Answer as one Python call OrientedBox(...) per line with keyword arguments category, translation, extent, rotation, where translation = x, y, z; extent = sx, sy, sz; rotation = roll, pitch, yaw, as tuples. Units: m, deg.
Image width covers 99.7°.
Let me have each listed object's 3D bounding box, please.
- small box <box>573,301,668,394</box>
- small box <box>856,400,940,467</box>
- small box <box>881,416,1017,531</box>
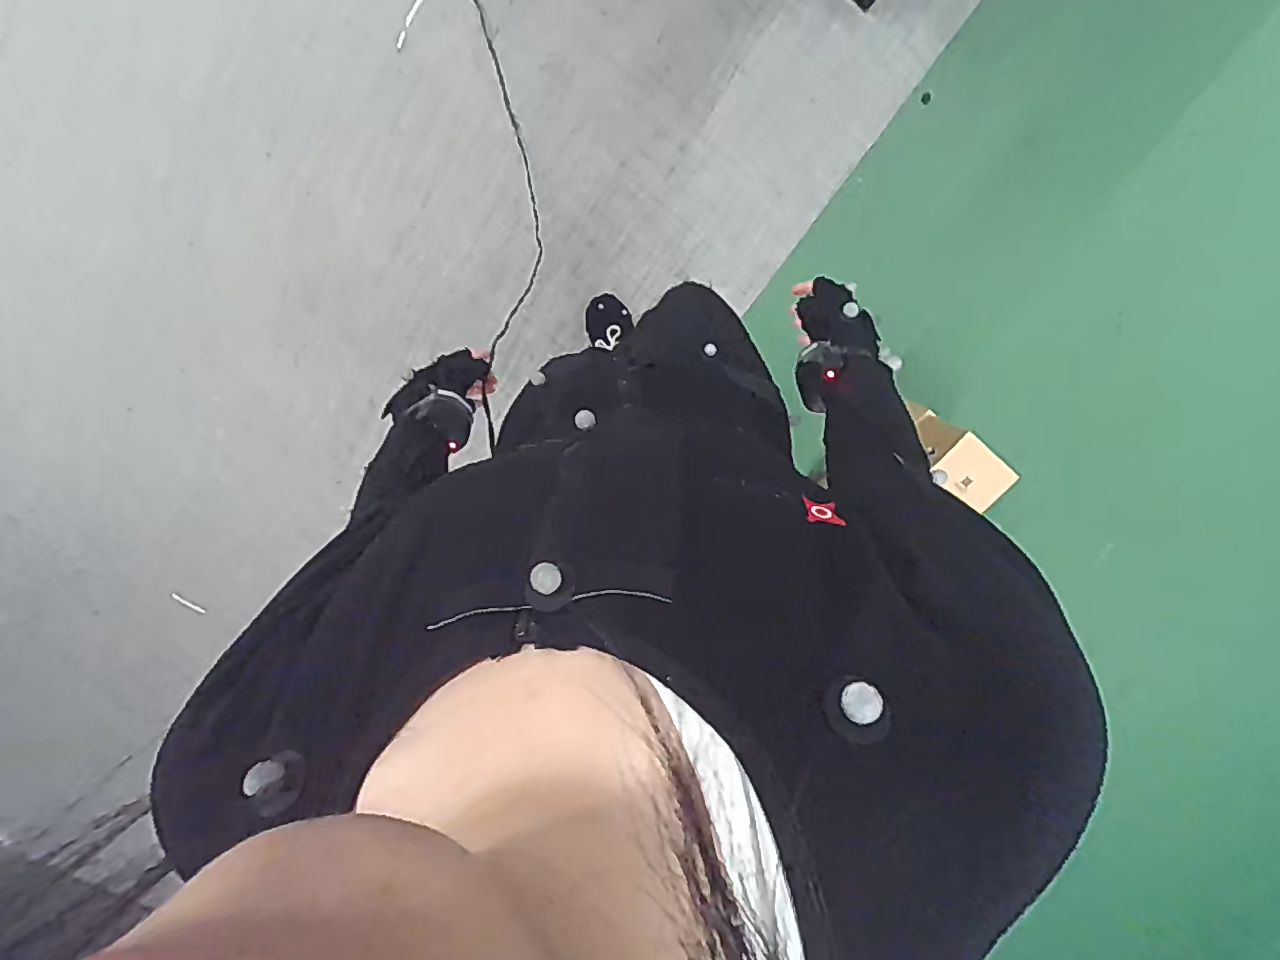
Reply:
OrientedBox(category="small box", translation=(-0.053, -0.334, 1.345), extent=(0.179, 0.176, 0.168), rotation=(23, 120, 11))
OrientedBox(category="small box", translation=(0.694, -0.088, 1.389), extent=(0.179, 0.176, 0.168), rotation=(39, 105, -11))
OrientedBox(category="small box", translation=(0.693, -0.023, 1.237), extent=(0.168, 0.176, 0.179), rotation=(38, 105, -11))
